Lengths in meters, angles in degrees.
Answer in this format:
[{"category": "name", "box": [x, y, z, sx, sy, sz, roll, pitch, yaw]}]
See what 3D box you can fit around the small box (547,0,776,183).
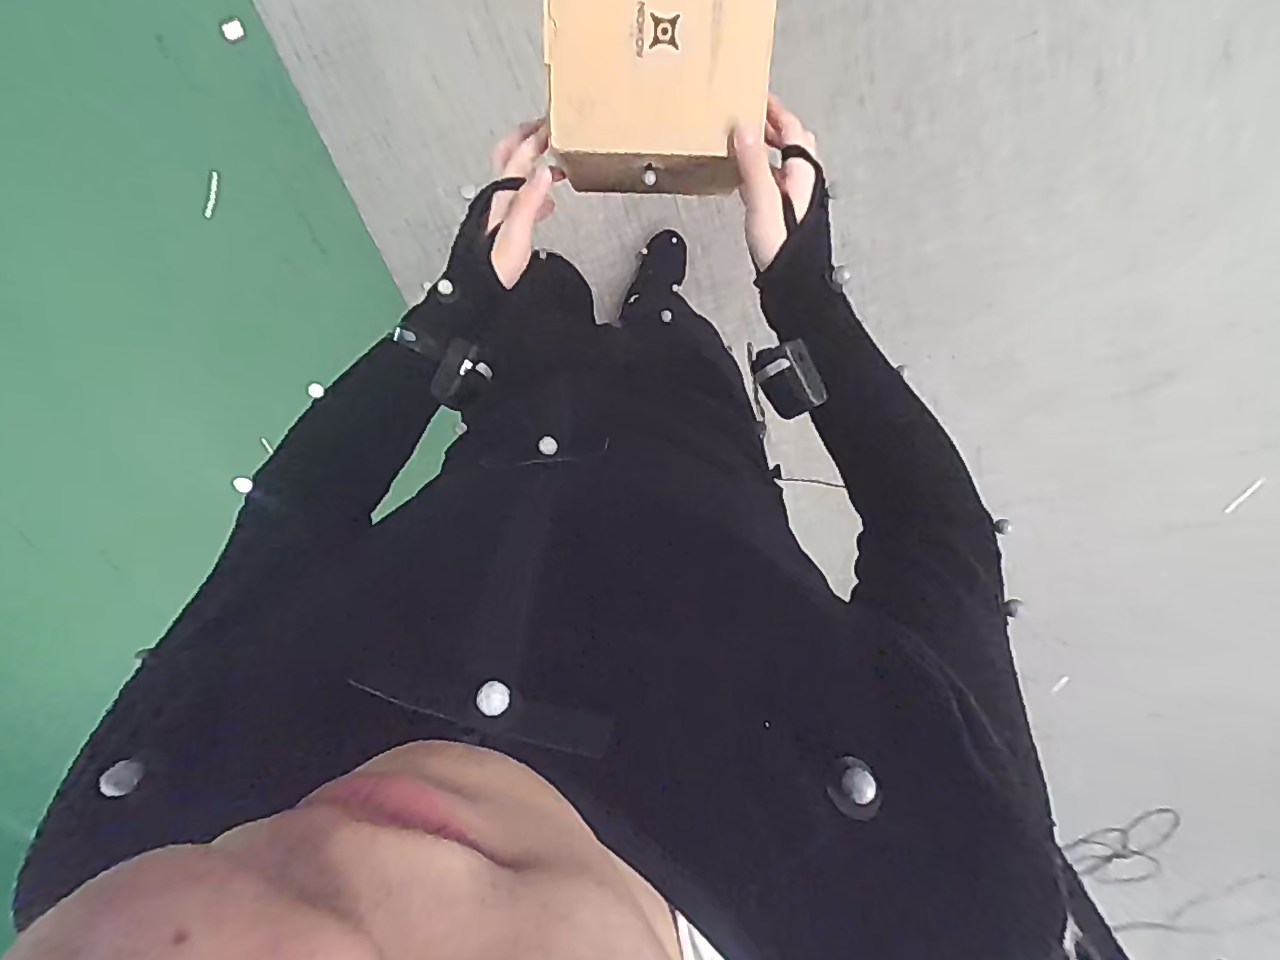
[{"category": "small box", "box": [0.018, -0.378, 0.487, 0.179, 0.176, 0.168, 2, 108, 0]}]
